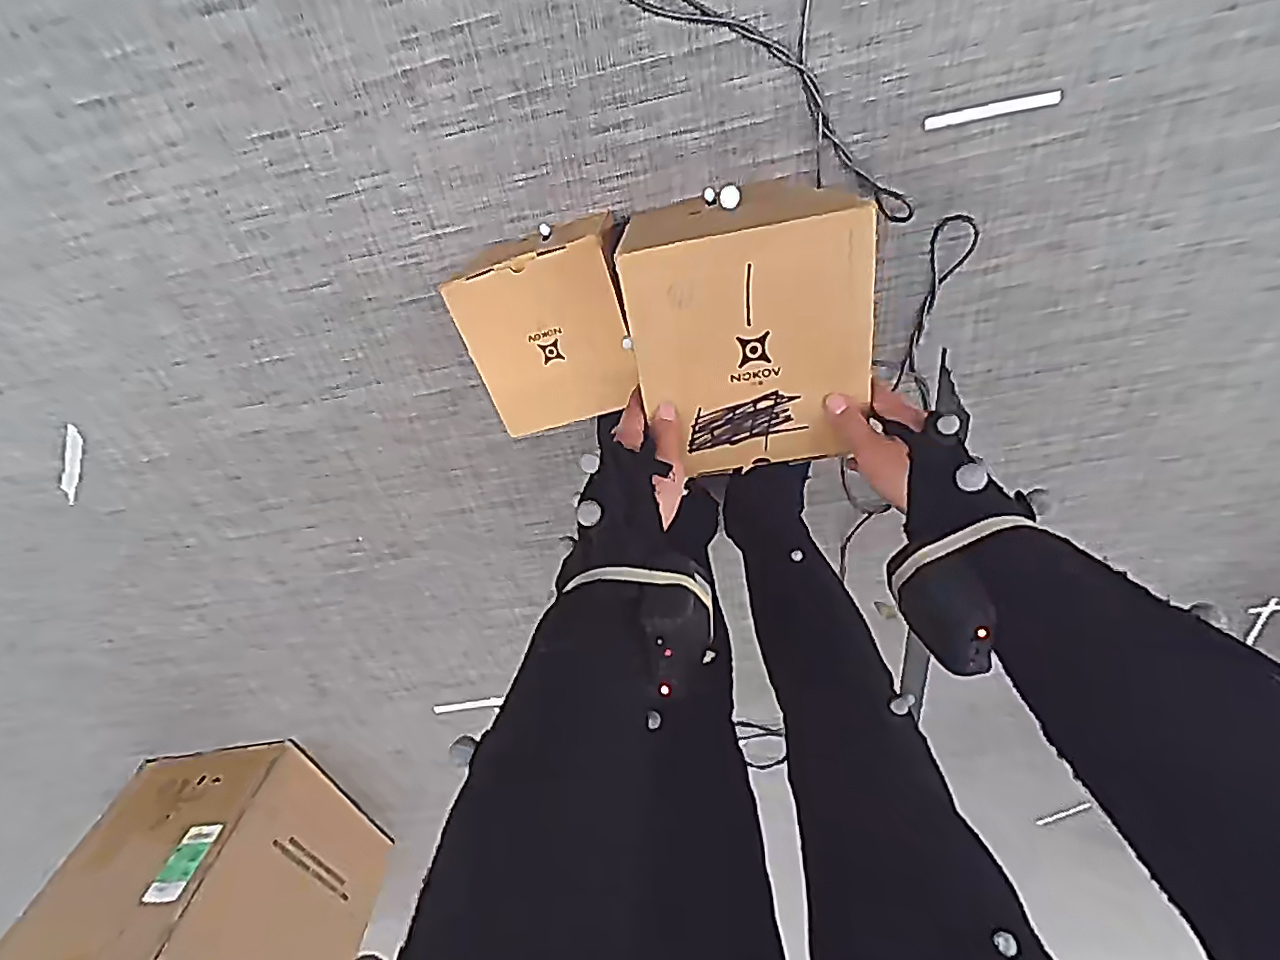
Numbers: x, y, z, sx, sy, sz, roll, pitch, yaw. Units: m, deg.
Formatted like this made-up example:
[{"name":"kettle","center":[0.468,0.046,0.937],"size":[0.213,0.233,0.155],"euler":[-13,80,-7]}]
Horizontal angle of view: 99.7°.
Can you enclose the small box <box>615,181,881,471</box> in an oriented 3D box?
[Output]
[{"name":"small box","center":[0.080,-0.131,0.441],"size":[0.168,0.176,0.179],"euler":[-8,120,6]}]
